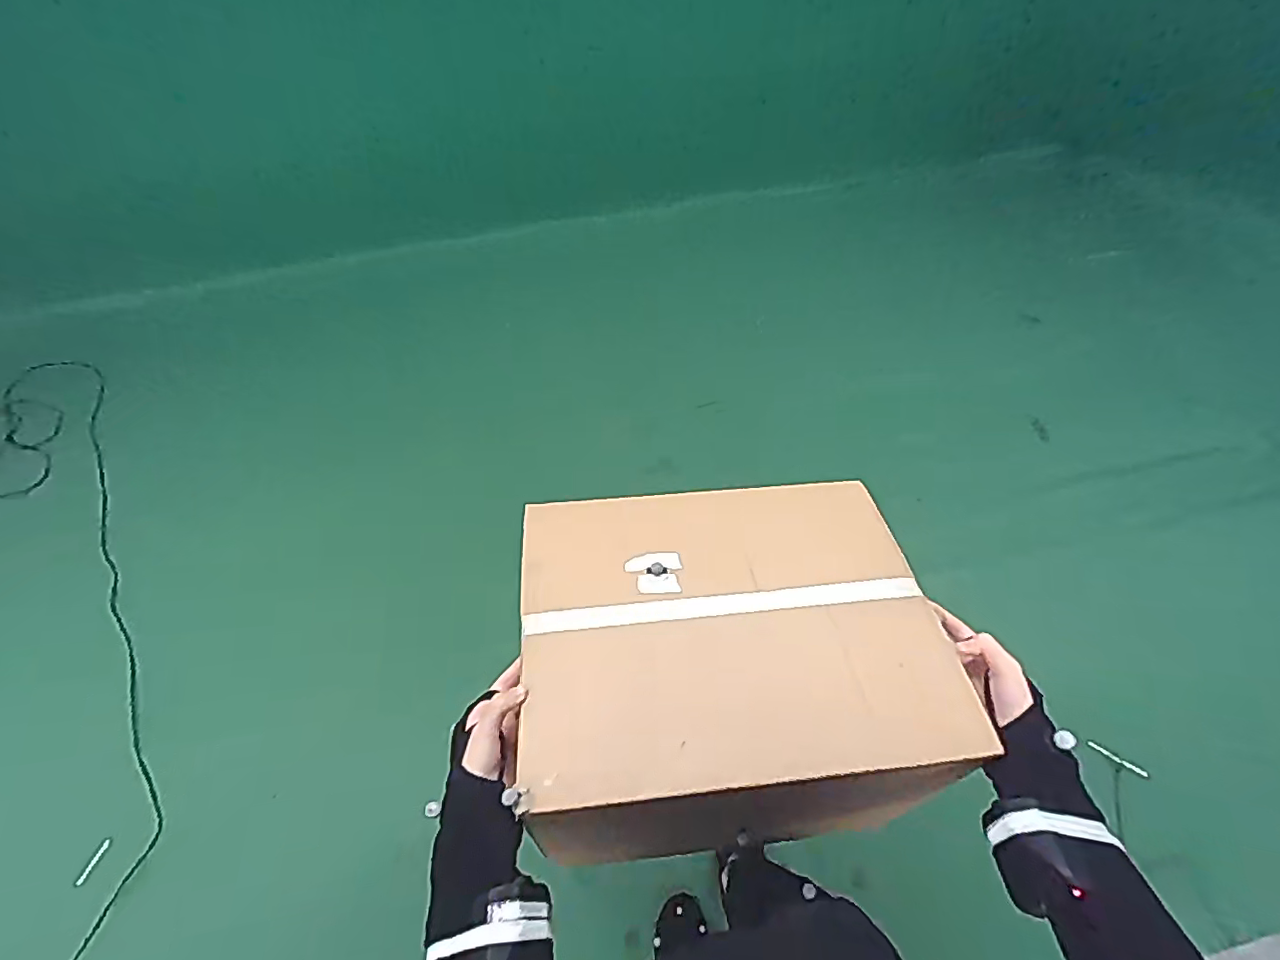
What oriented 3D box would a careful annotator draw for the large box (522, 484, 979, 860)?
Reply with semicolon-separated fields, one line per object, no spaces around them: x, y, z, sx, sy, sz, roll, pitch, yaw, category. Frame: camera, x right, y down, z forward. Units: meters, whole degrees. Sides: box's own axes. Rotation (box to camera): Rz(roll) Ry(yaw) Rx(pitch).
0.084;0.234;0.659;0.408;0.320;0.320;-5;48;-5;large box
